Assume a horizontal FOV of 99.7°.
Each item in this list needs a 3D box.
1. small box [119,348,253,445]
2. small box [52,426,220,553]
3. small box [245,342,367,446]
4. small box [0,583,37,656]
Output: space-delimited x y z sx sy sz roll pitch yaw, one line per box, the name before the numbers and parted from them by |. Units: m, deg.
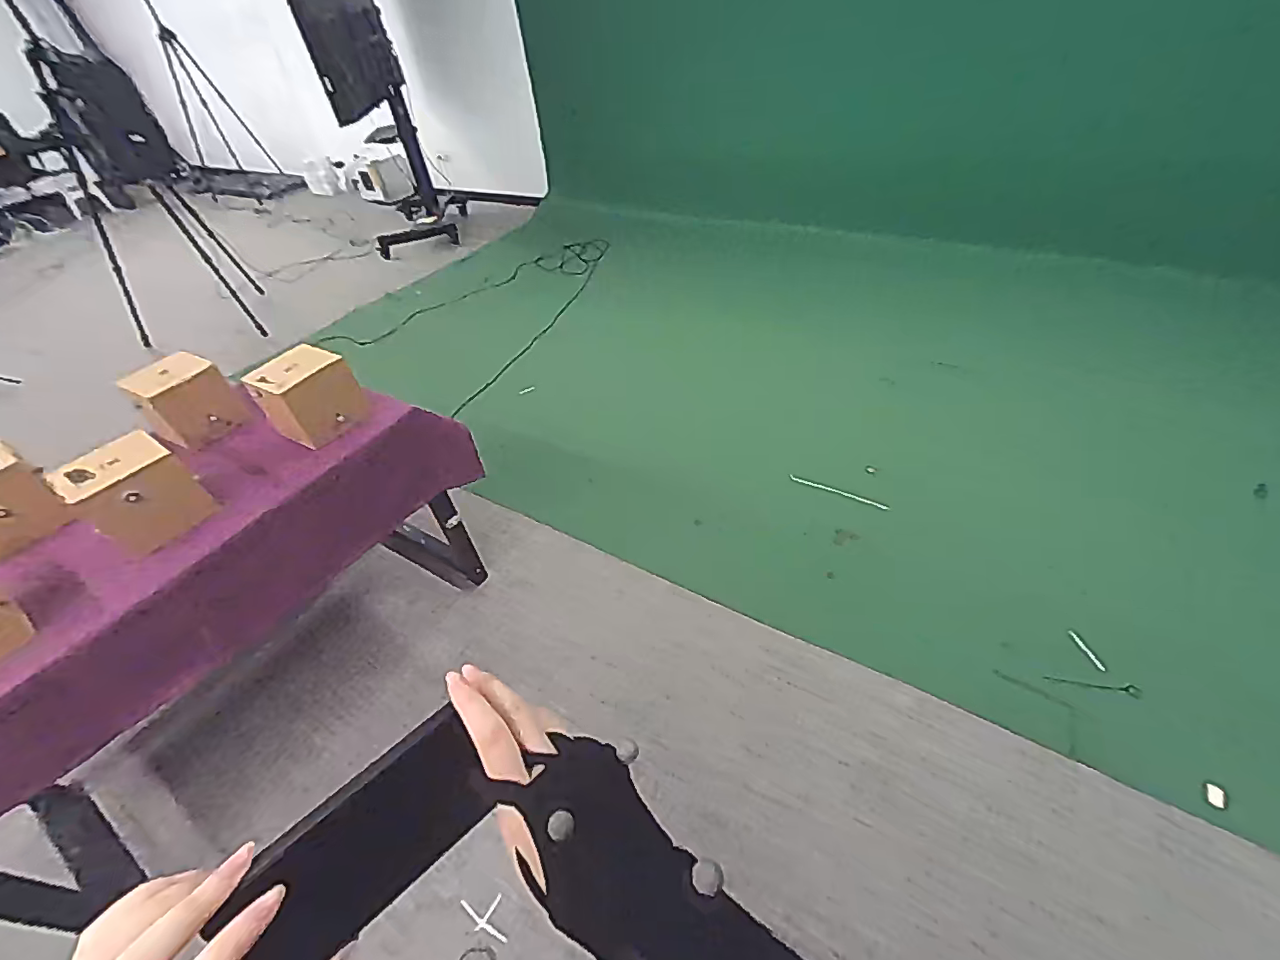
small box | -1.155 -0.212 1.386 0.179 0.176 0.168 19 50 25
small box | -1.040 0.021 1.129 0.168 0.176 0.179 24 51 28
small box | -0.812 -0.215 1.342 0.168 0.176 0.179 19 50 26
small box | -1.217 0.244 0.921 0.168 0.176 0.179 22 50 28
